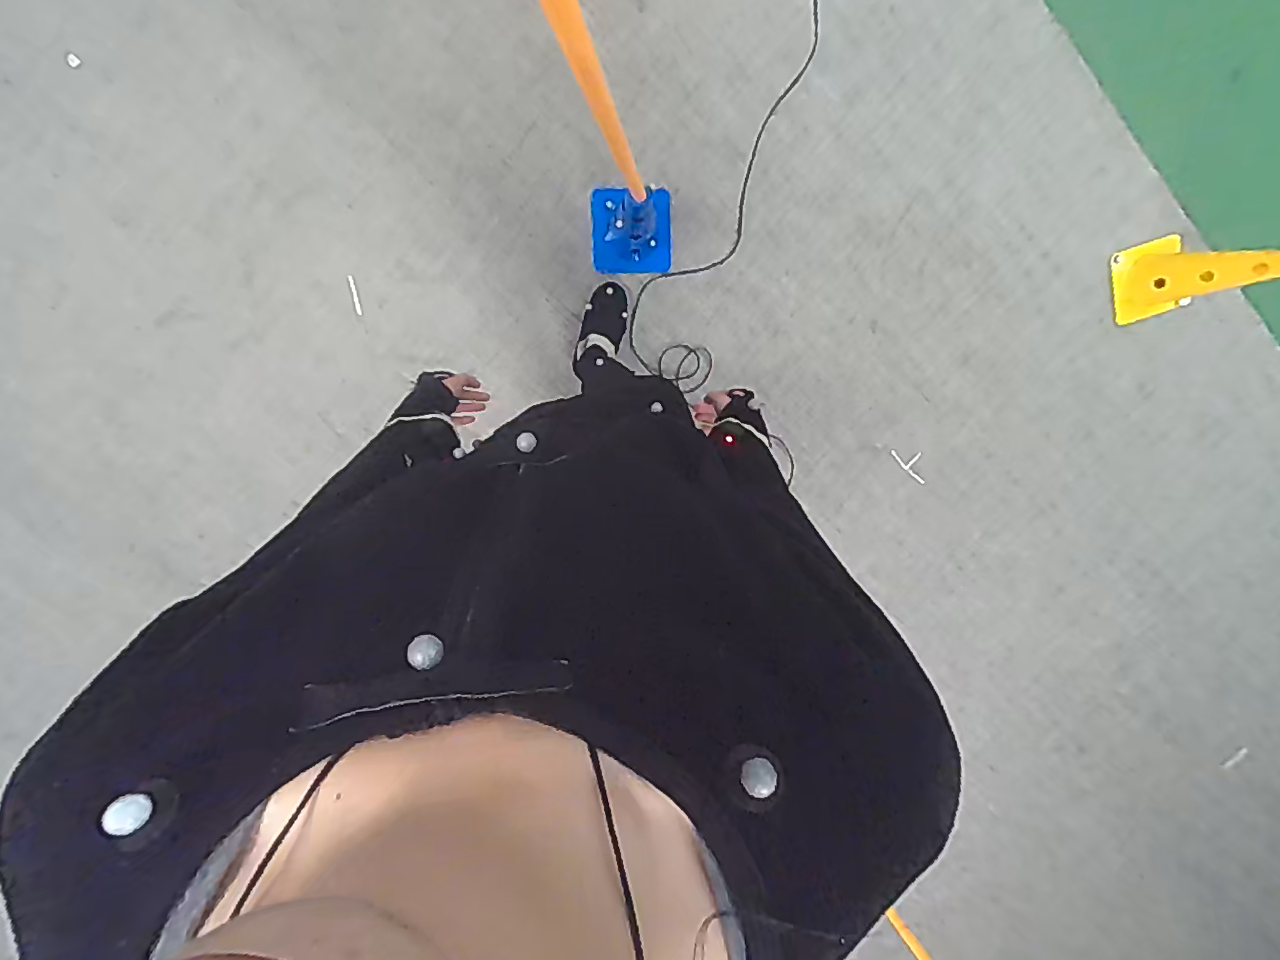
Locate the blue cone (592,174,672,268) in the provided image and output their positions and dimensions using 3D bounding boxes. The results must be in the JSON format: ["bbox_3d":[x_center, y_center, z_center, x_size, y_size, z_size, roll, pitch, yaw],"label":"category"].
[{"bbox_3d":[-0.009,-0.584,1.177,0.193,0.380,0.192,-3,105,-2],"label":"blue cone"}]
